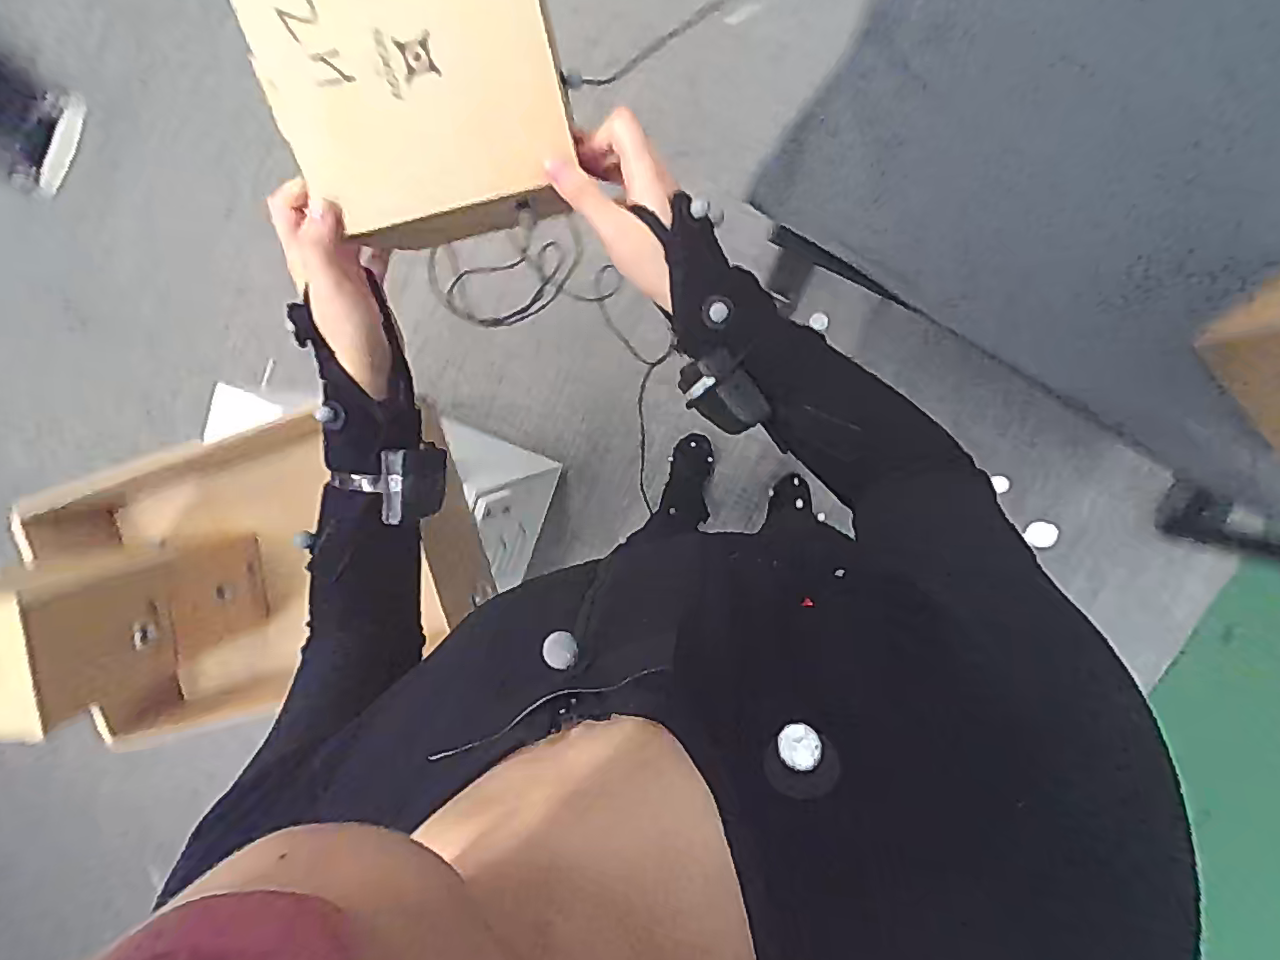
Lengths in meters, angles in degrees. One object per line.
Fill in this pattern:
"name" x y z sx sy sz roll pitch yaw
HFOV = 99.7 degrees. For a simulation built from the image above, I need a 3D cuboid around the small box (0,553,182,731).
"small box" -0.753 0.197 0.698 0.179 0.176 0.168 -1 99 5
